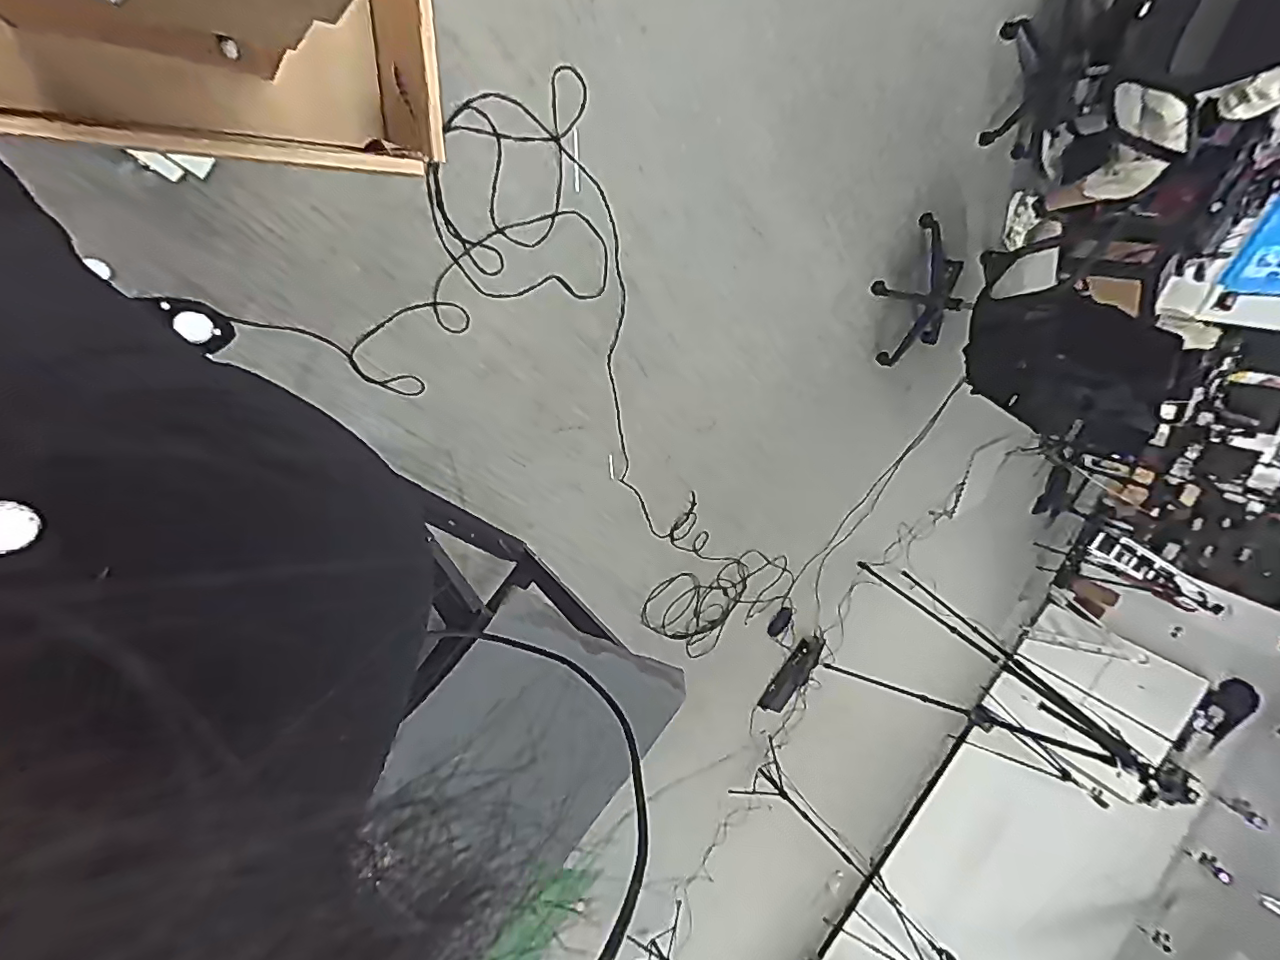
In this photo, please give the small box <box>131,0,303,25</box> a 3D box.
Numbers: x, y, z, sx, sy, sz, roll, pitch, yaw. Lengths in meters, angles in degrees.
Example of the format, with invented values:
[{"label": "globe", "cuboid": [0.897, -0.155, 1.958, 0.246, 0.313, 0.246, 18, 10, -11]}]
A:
[{"label": "small box", "cuboid": [-0.261, -0.343, 0.246, 0.179, 0.176, 0.168, -12, 119, -33]}]
